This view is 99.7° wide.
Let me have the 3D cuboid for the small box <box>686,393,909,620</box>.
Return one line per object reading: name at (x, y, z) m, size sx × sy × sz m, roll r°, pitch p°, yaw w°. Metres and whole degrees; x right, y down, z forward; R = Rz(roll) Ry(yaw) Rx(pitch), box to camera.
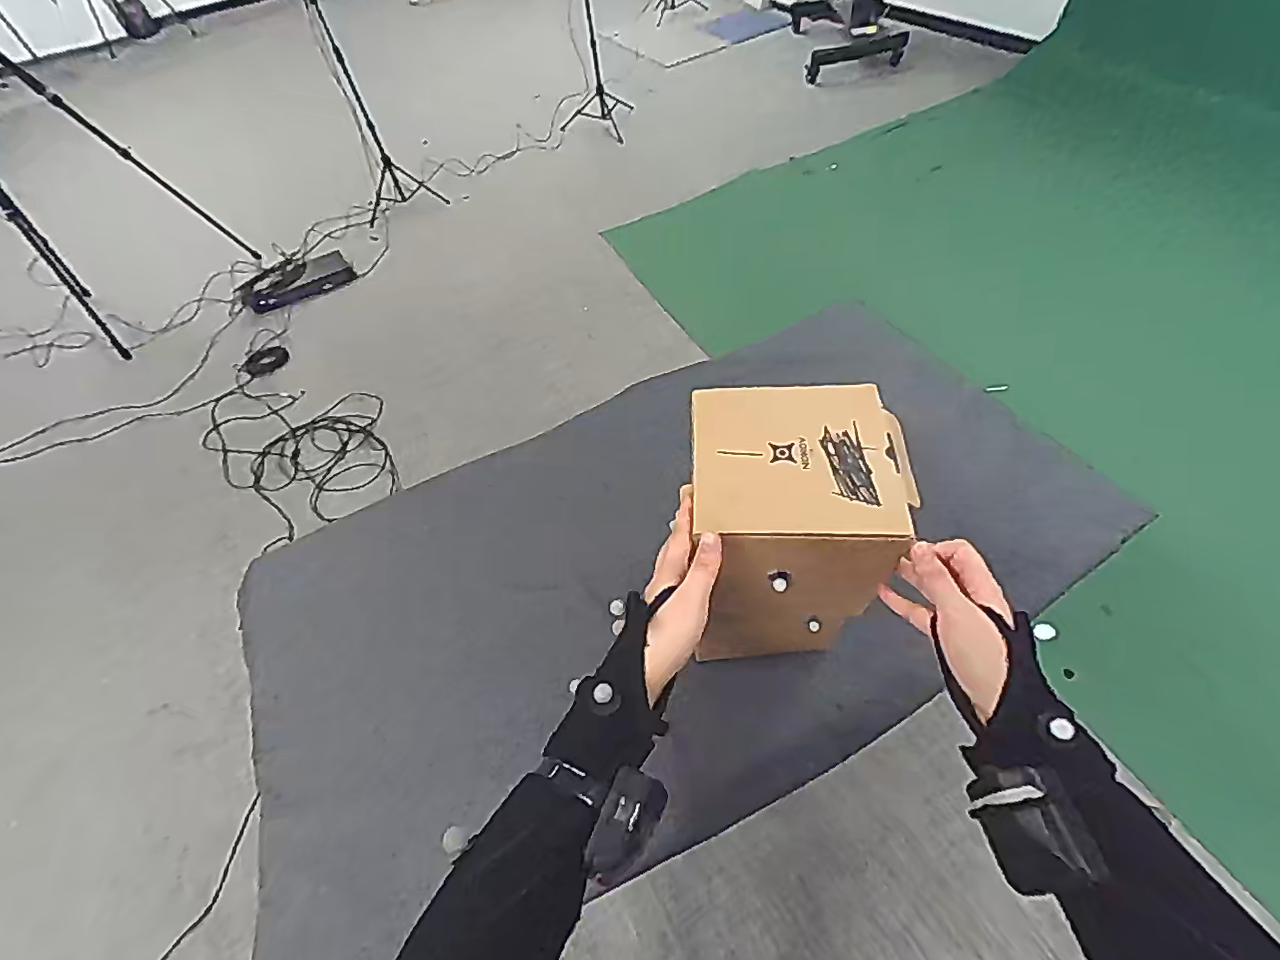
small box at (0.136, 0.032, 0.538) m, size 0.179 × 0.176 × 0.168 m, roll 1°, pitch 55°, yaw 7°
